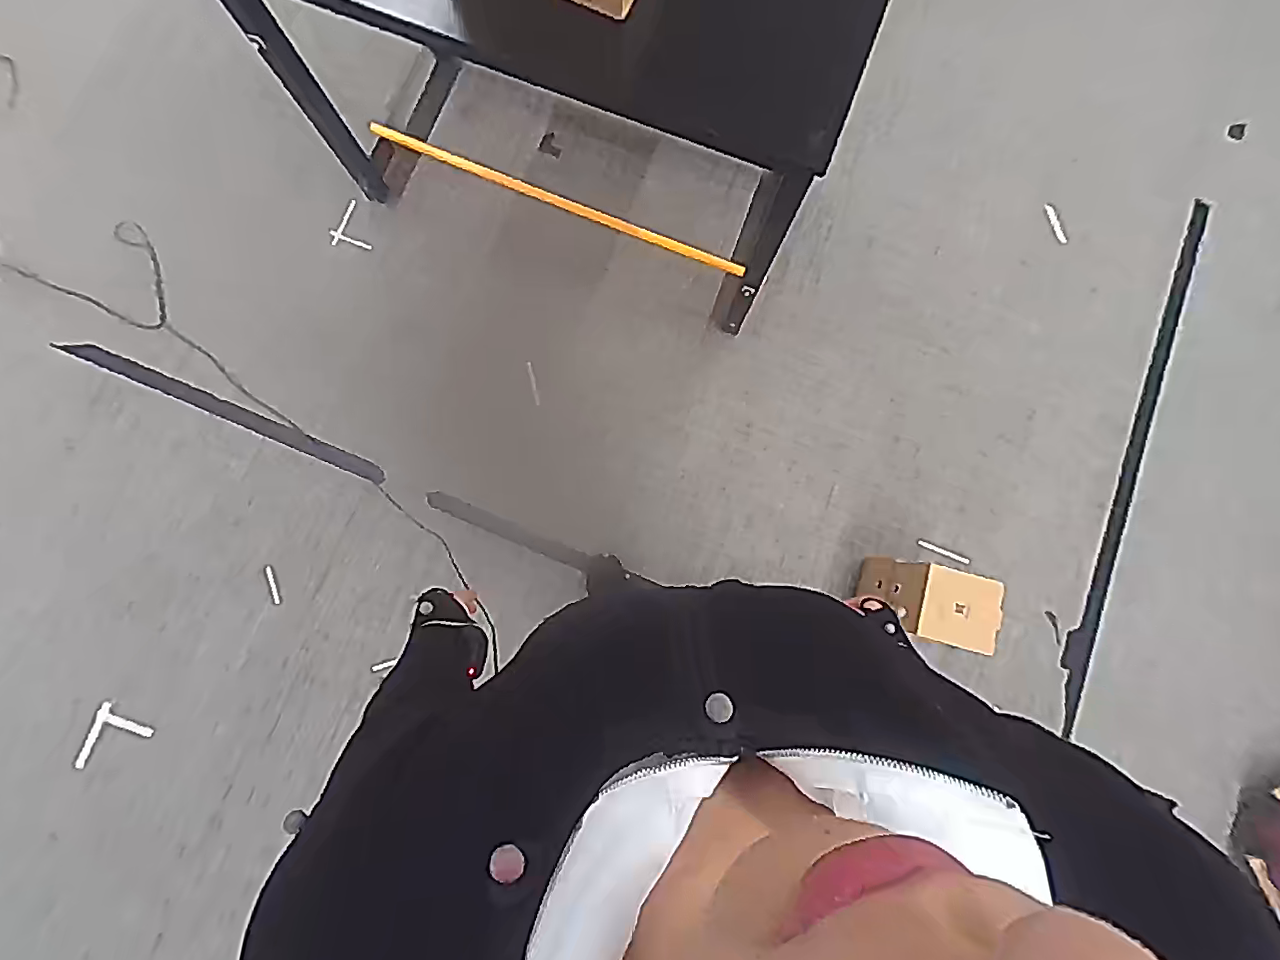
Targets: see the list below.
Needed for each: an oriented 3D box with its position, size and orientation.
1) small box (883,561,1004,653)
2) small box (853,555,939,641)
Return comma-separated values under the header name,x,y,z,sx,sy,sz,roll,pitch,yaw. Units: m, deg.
name,x,y,z,sx,sy,sz,roll,pitch,yaw
small box,0.705,0.290,1.272,0.179,0.176,0.168,15,82,2
small box,0.691,0.305,1.434,0.168,0.176,0.179,18,83,1
